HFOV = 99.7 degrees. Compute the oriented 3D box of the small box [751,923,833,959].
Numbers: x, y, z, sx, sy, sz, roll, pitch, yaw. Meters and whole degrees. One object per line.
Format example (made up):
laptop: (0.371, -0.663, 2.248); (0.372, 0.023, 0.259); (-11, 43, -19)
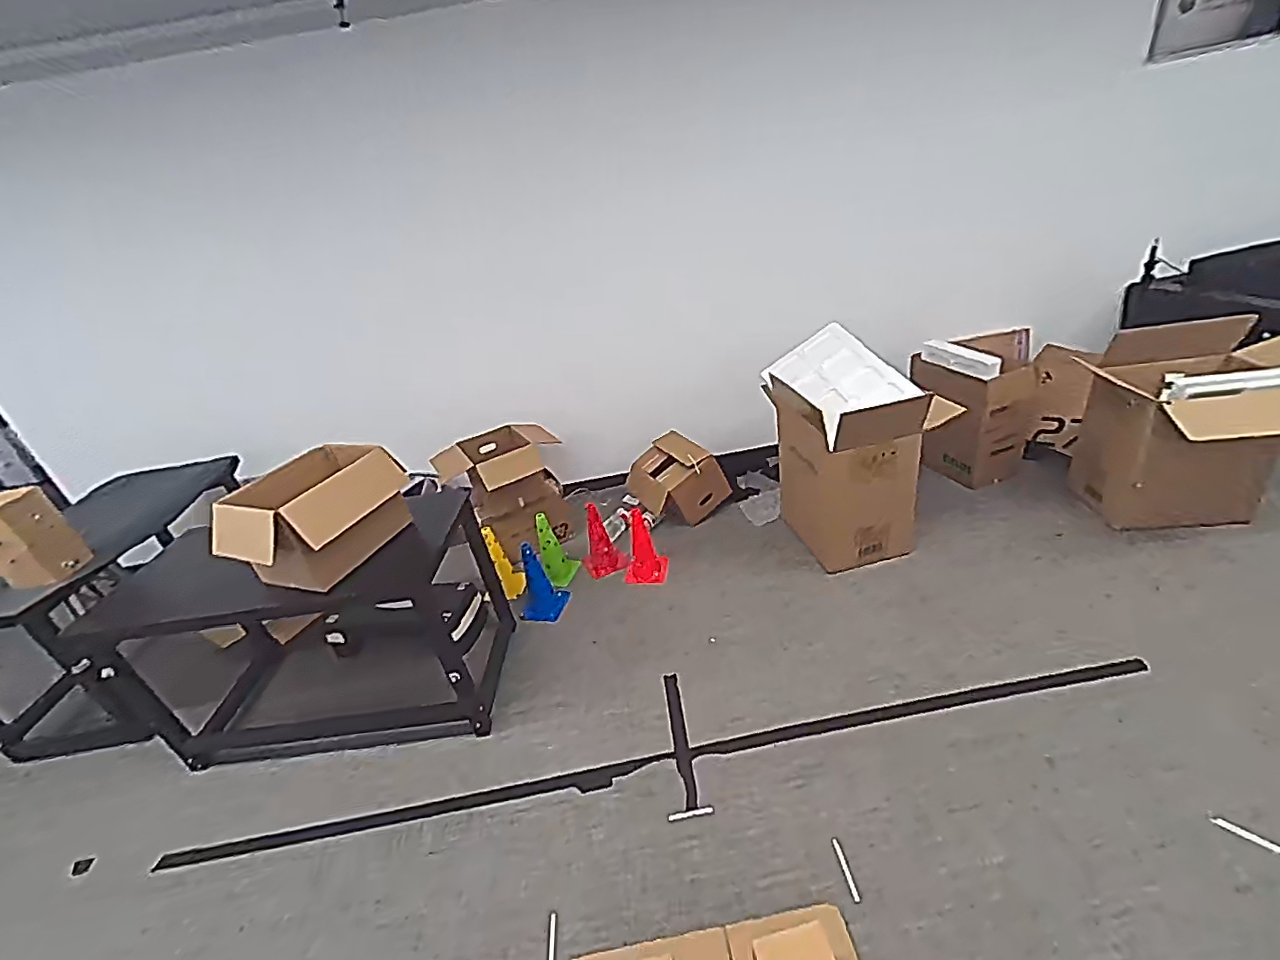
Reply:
small box: (0.352, 1.128, 1.179); (0.168, 0.176, 0.179); (-13, 29, -5)
